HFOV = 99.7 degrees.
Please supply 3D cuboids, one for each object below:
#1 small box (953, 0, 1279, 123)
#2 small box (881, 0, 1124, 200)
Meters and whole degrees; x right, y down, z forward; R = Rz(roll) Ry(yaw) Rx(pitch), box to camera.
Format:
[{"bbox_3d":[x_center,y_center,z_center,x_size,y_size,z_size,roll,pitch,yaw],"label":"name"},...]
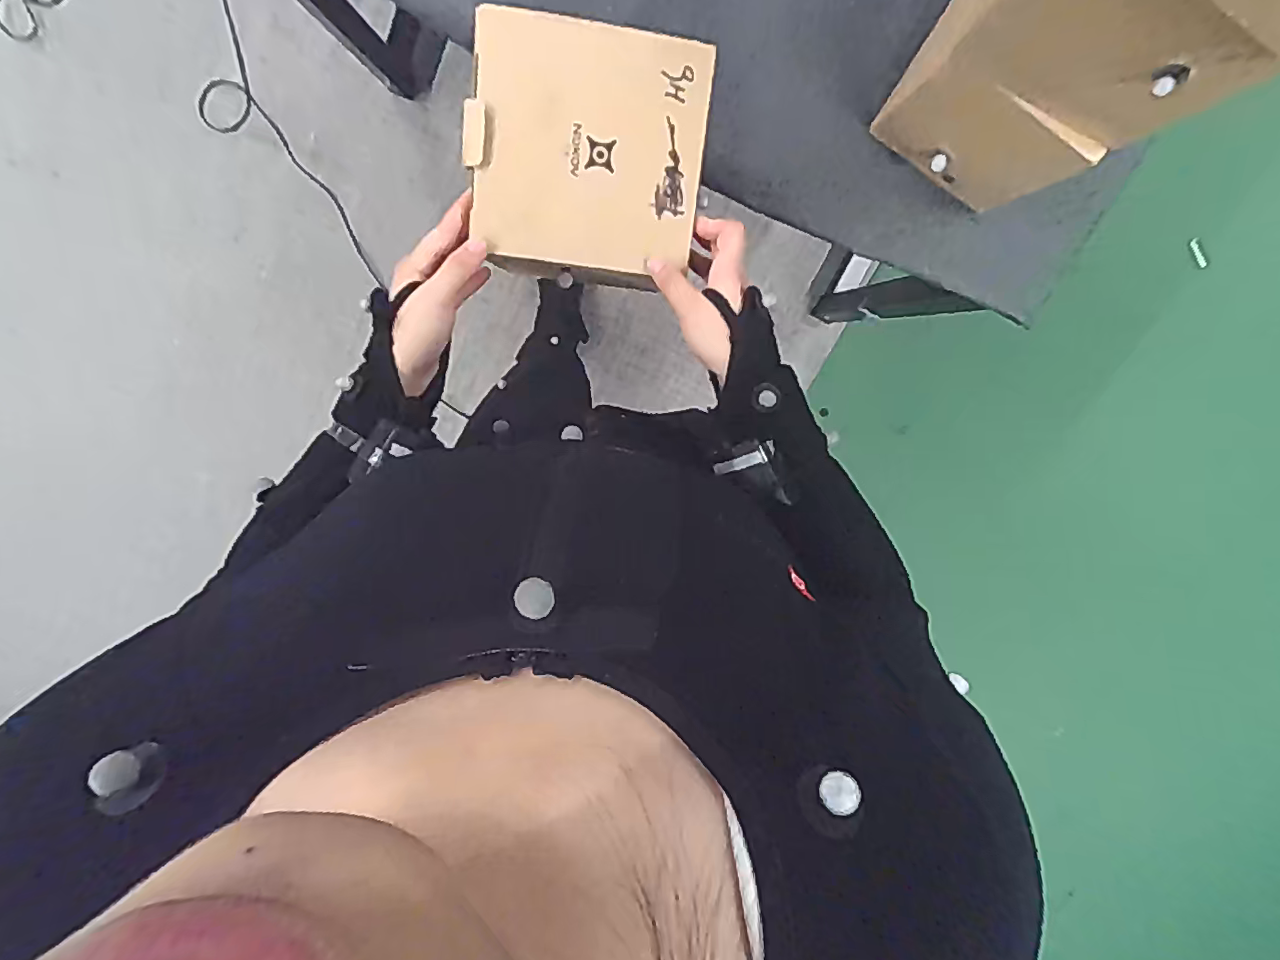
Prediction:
[{"bbox_3d":[0.361,-0.377,0.356,0.179,0.176,0.168,24,100,-4],"label":"small box"},{"bbox_3d":[0.369,-0.409,0.515,0.168,0.176,0.179,31,102,-7],"label":"small box"}]
